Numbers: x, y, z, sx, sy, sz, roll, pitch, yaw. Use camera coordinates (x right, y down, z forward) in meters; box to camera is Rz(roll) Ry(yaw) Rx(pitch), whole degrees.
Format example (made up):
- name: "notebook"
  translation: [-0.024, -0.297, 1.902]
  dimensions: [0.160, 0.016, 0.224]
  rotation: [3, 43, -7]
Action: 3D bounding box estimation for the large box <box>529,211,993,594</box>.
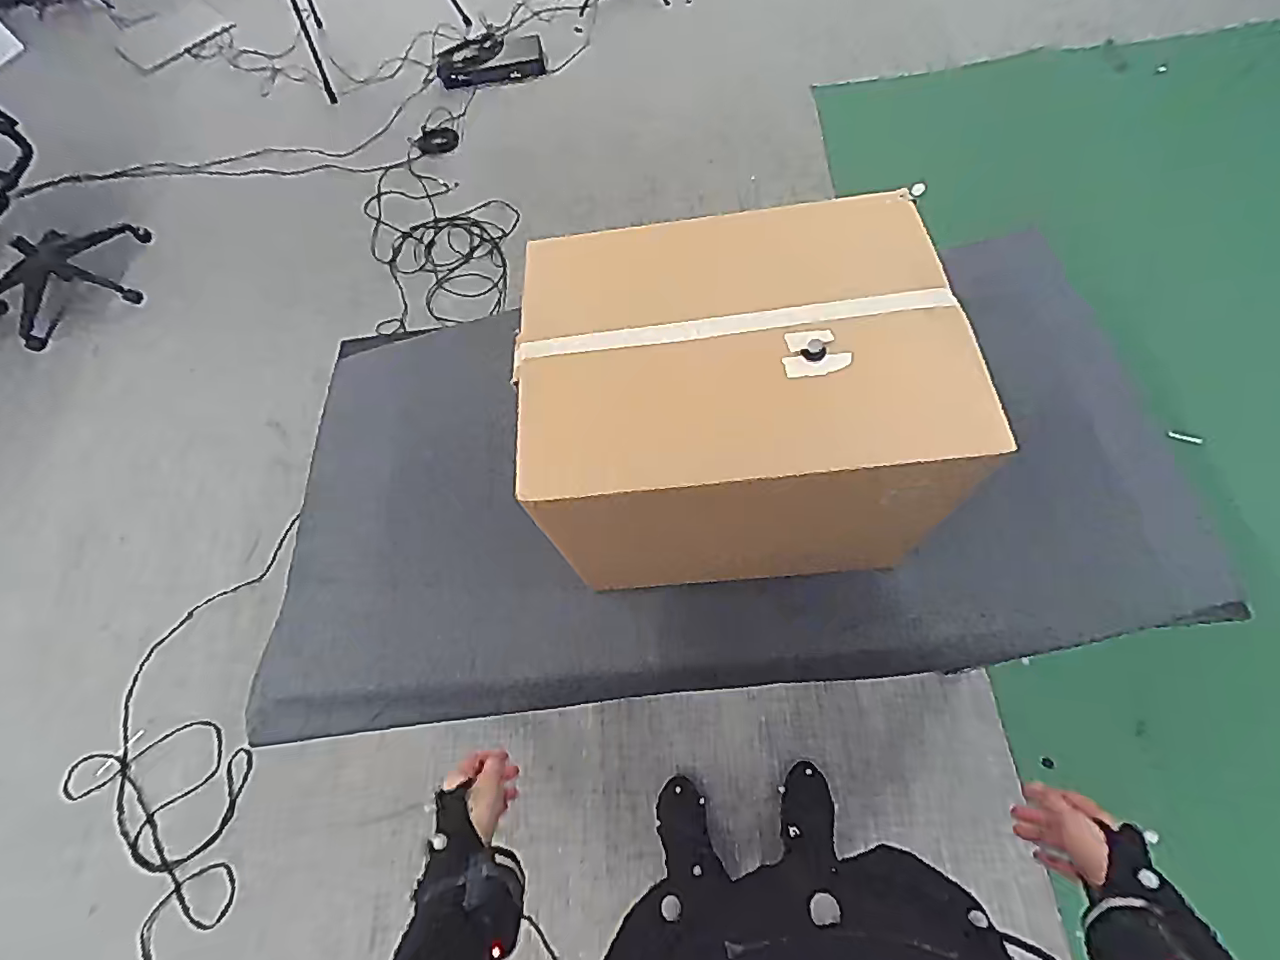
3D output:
- name: "large box"
  translation: [0.102, -0.066, 0.656]
  dimensions: [0.408, 0.320, 0.320]
  rotation: [-6, 64, 4]
